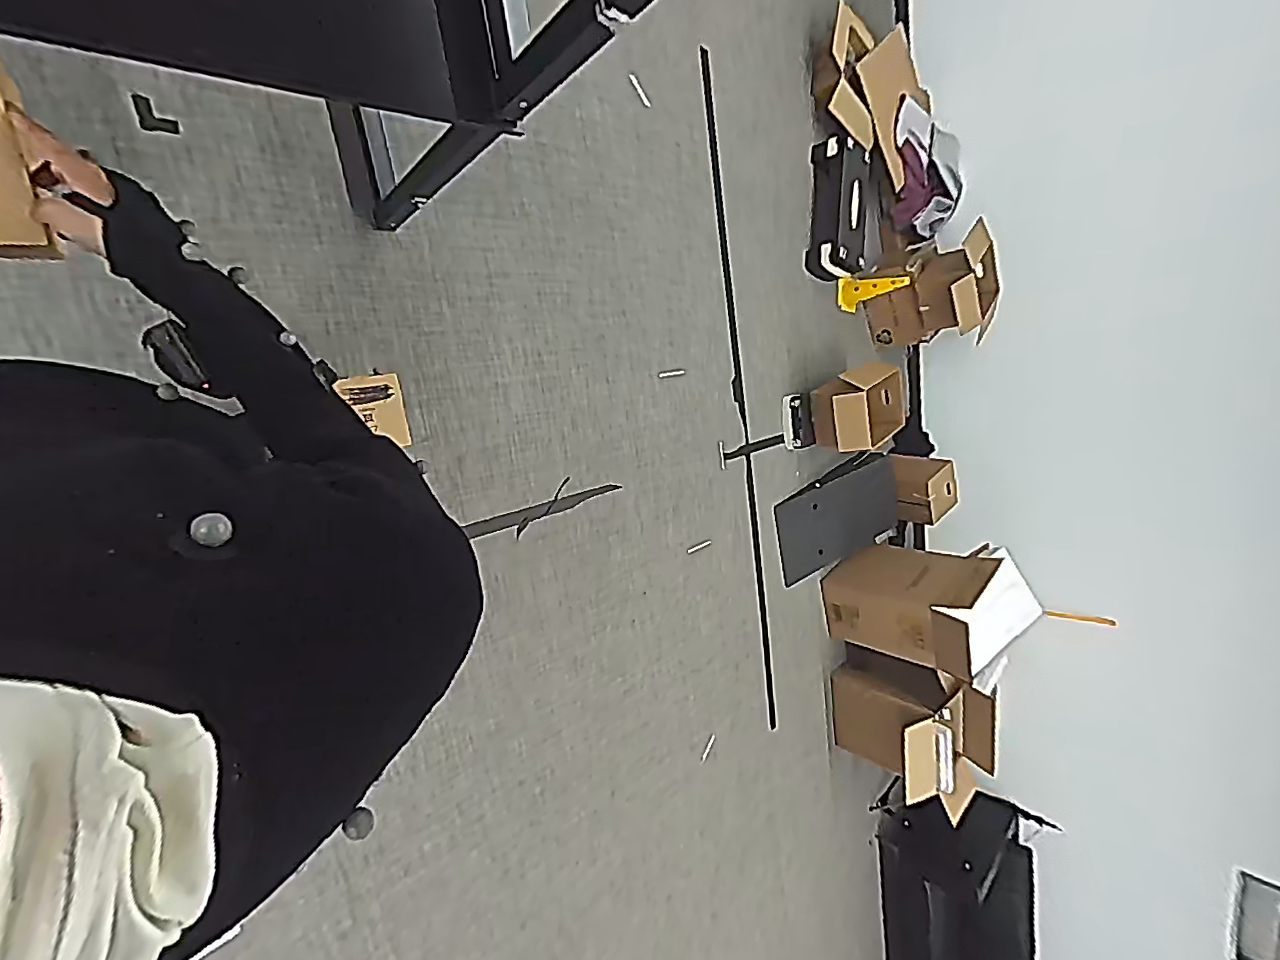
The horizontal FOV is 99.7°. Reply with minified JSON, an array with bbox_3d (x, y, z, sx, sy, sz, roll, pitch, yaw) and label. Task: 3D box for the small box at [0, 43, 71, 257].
[{"bbox_3d":[-0.618,-0.279,0.447,0.179,0.176,0.168,-15,114,-37],"label":"small box"}]
